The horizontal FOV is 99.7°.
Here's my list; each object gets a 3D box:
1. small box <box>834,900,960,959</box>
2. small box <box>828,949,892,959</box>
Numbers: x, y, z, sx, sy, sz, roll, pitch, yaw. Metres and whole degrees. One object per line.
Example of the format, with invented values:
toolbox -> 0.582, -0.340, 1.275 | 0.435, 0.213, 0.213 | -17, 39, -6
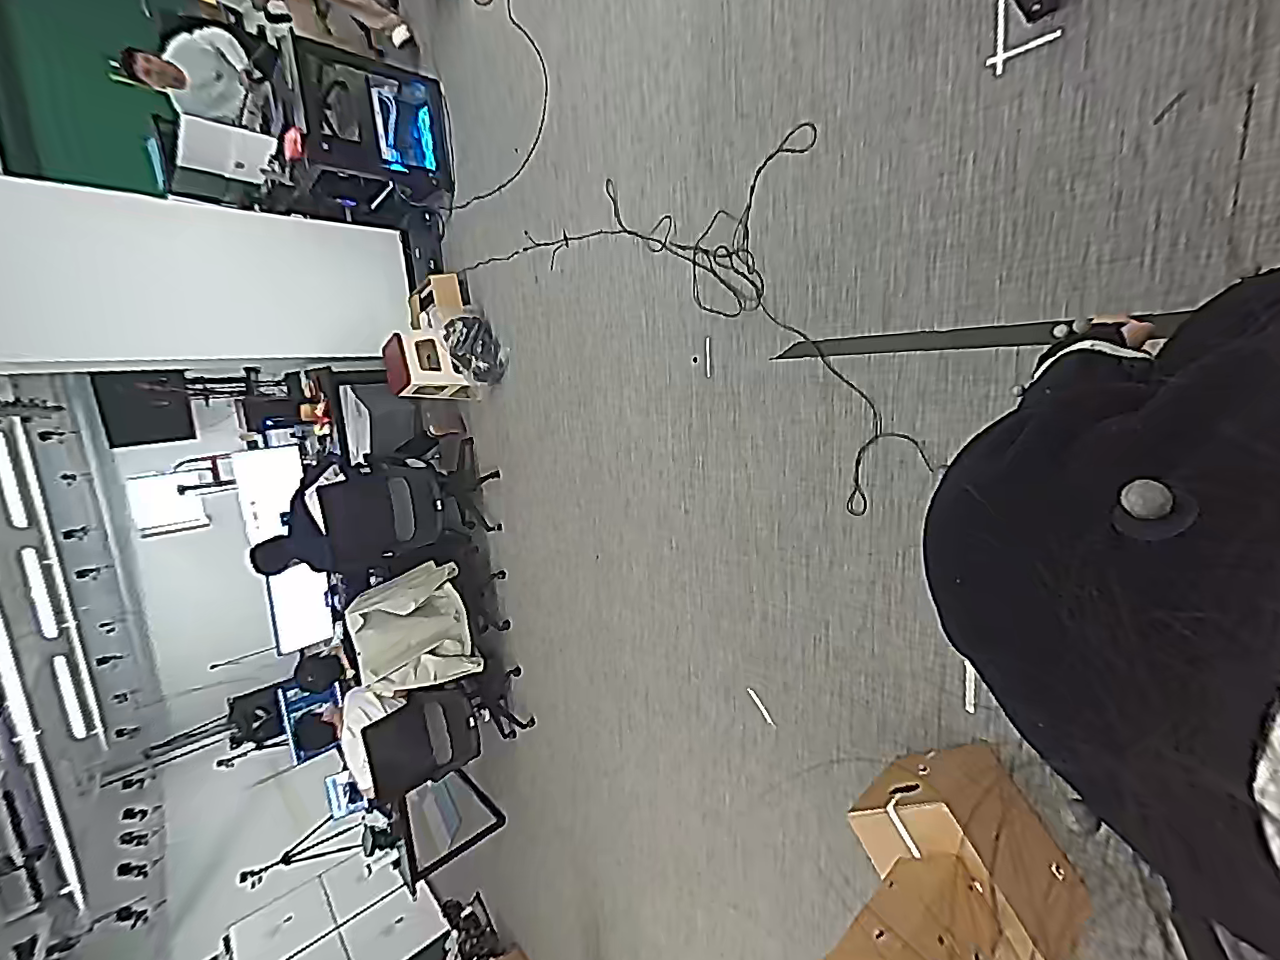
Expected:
small box -> 0.557, 1.028, 1.144 | 0.179, 0.176, 0.168 | -49, 63, 44
small box -> 0.433, 1.053, 1.040 | 0.179, 0.176, 0.168 | -48, 64, 46
